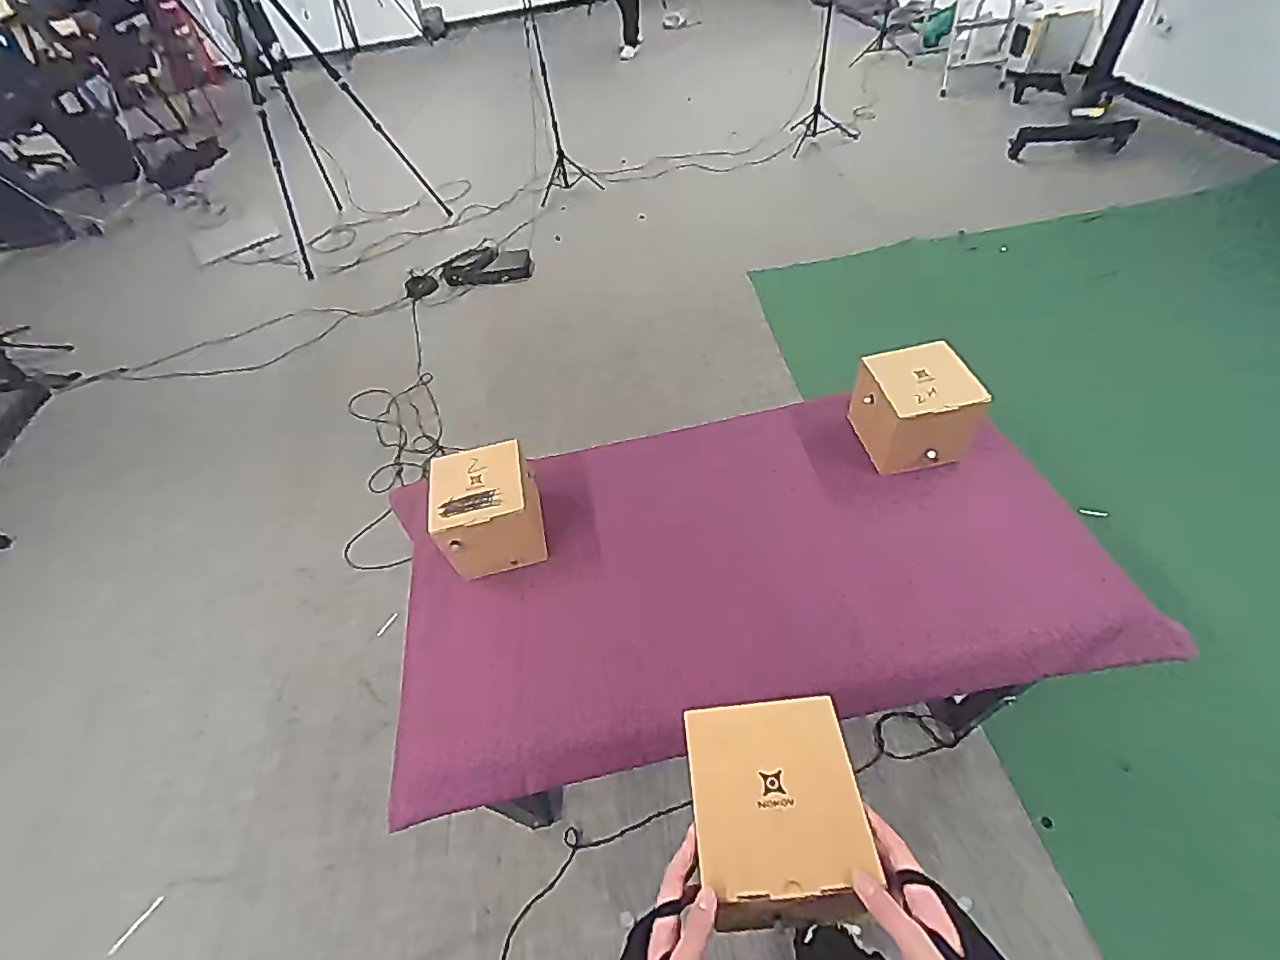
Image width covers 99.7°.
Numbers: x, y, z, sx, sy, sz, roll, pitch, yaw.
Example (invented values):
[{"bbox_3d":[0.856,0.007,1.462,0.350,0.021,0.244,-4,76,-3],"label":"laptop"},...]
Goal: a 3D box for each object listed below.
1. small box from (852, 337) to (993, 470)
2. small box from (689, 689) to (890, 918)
[{"bbox_3d":[0.533,-0.147,1.054,0.168,0.176,0.179,-12,52,2],"label":"small box"},{"bbox_3d":[0.148,0.359,0.599,0.168,0.176,0.179,-8,45,3],"label":"small box"}]
